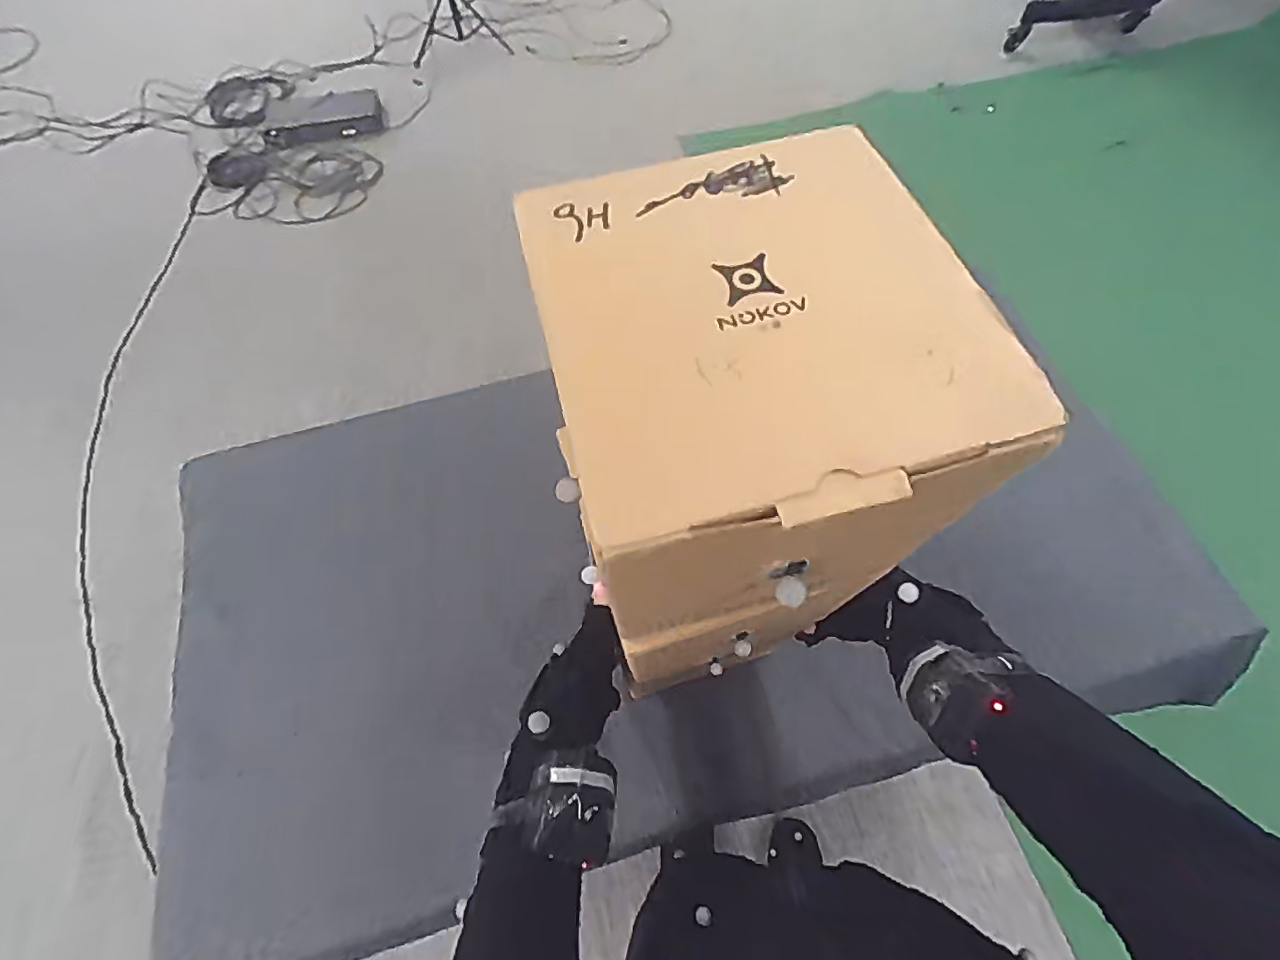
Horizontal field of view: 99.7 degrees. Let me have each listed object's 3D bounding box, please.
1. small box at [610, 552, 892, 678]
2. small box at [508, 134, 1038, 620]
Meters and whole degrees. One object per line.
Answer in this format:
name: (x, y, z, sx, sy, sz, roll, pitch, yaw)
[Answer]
small box: (0.052, 0.043, 0.430, 0.179, 0.176, 0.168, -19, 66, -8)
small box: (0.043, -0.033, 0.286, 0.168, 0.176, 0.179, -14, 66, -4)
